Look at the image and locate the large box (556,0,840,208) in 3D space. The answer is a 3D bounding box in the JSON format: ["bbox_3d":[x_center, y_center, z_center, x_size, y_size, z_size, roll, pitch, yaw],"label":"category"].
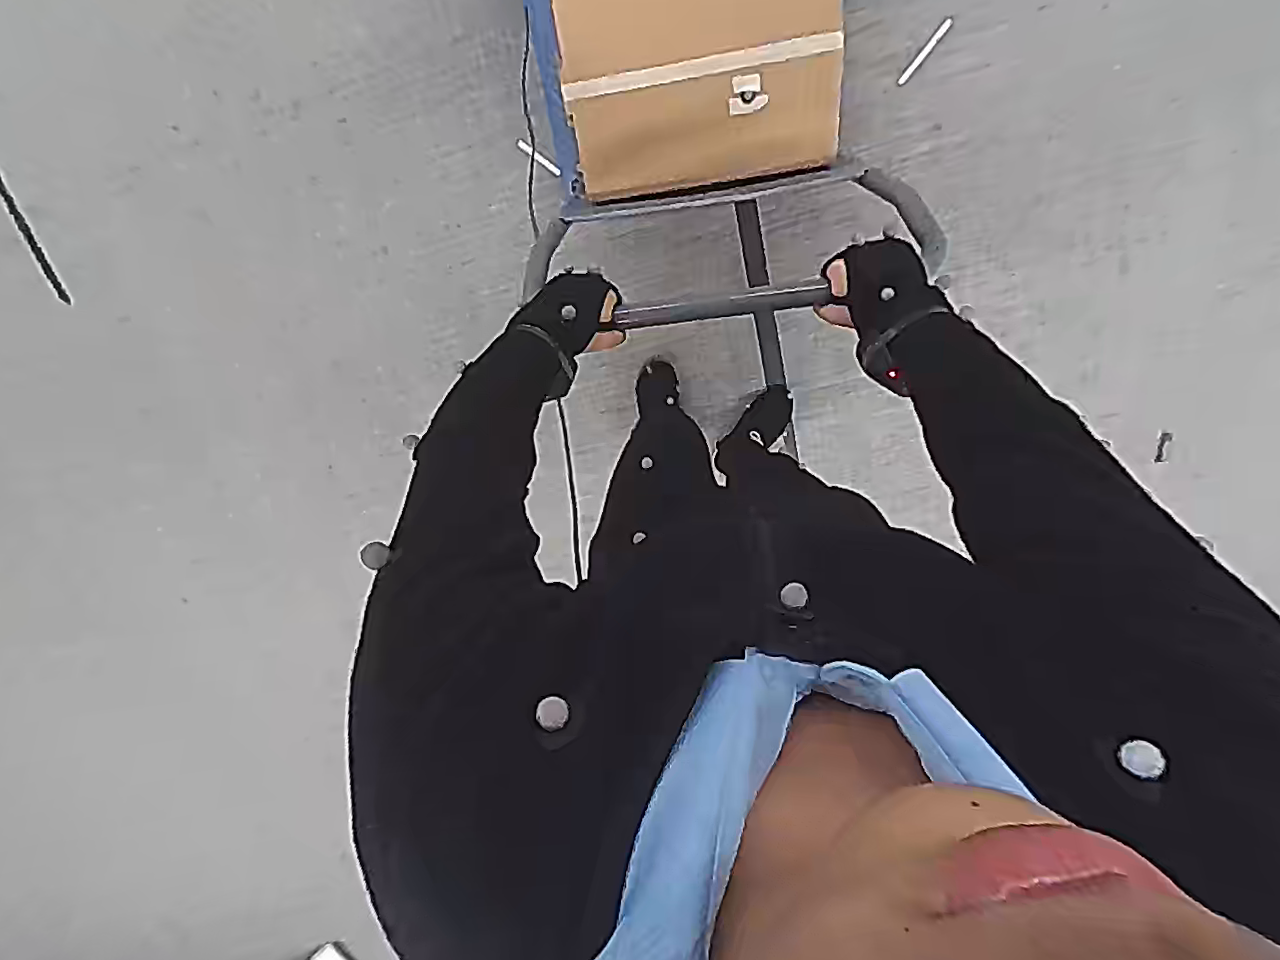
[{"bbox_3d":[0.099,-0.691,0.938,0.408,0.320,0.320,-6,123,7],"label":"large box"}]
